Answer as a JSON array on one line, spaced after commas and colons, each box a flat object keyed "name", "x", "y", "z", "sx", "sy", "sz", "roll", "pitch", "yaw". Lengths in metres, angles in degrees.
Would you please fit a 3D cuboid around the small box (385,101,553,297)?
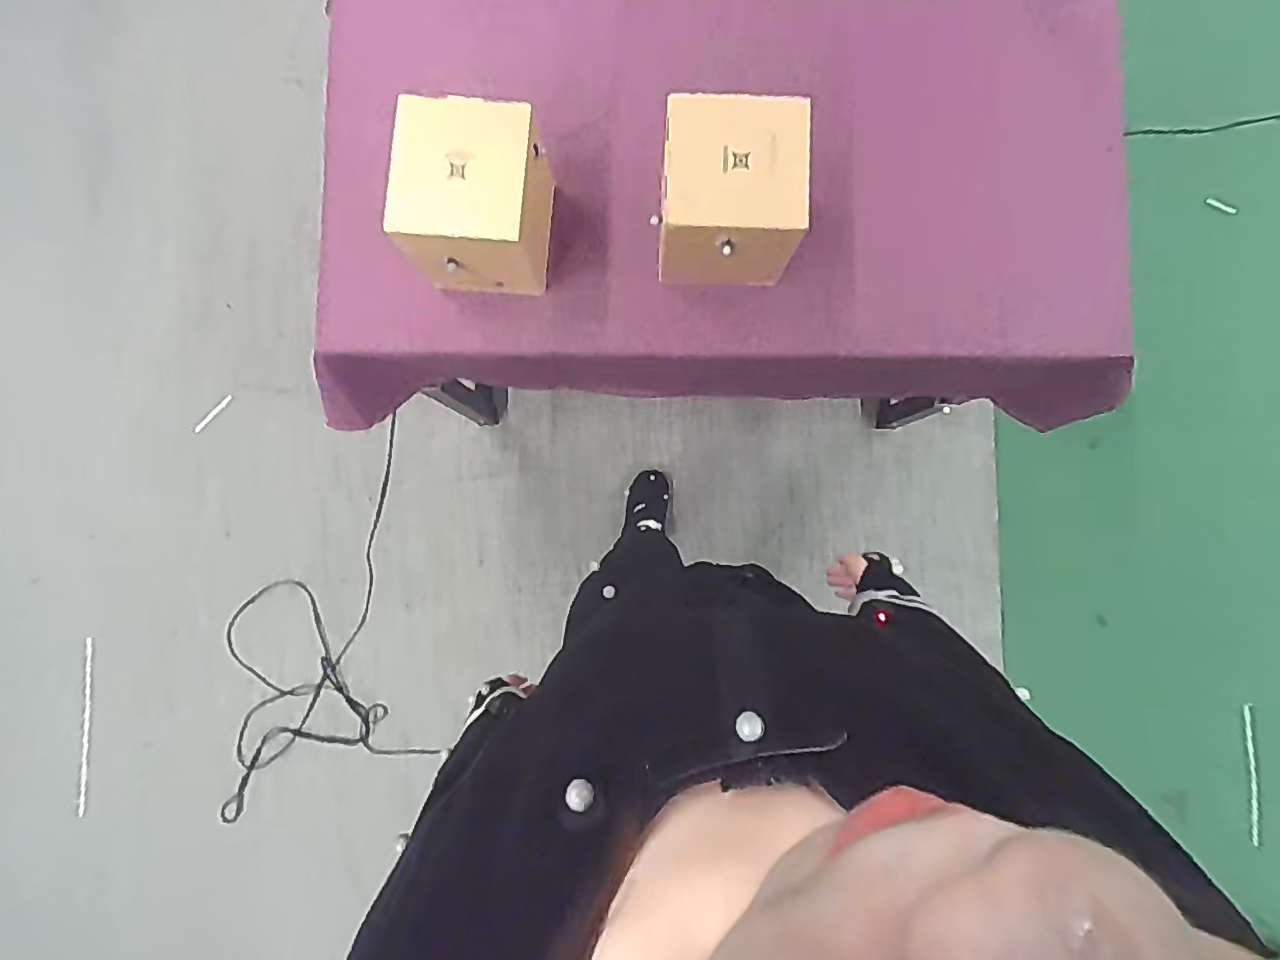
[{"name": "small box", "x": -0.218, "y": -0.367, "z": 0.734, "sx": 0.168, "sy": 0.176, "sz": 0.179, "roll": 4, "pitch": 85, "yaw": 1}]

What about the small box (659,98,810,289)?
[{"name": "small box", "x": 0.116, "y": -0.373, "z": 0.730, "sx": 0.179, "sy": 0.176, "sz": 0.168, "roll": 3, "pitch": 86, "yaw": 0}]
